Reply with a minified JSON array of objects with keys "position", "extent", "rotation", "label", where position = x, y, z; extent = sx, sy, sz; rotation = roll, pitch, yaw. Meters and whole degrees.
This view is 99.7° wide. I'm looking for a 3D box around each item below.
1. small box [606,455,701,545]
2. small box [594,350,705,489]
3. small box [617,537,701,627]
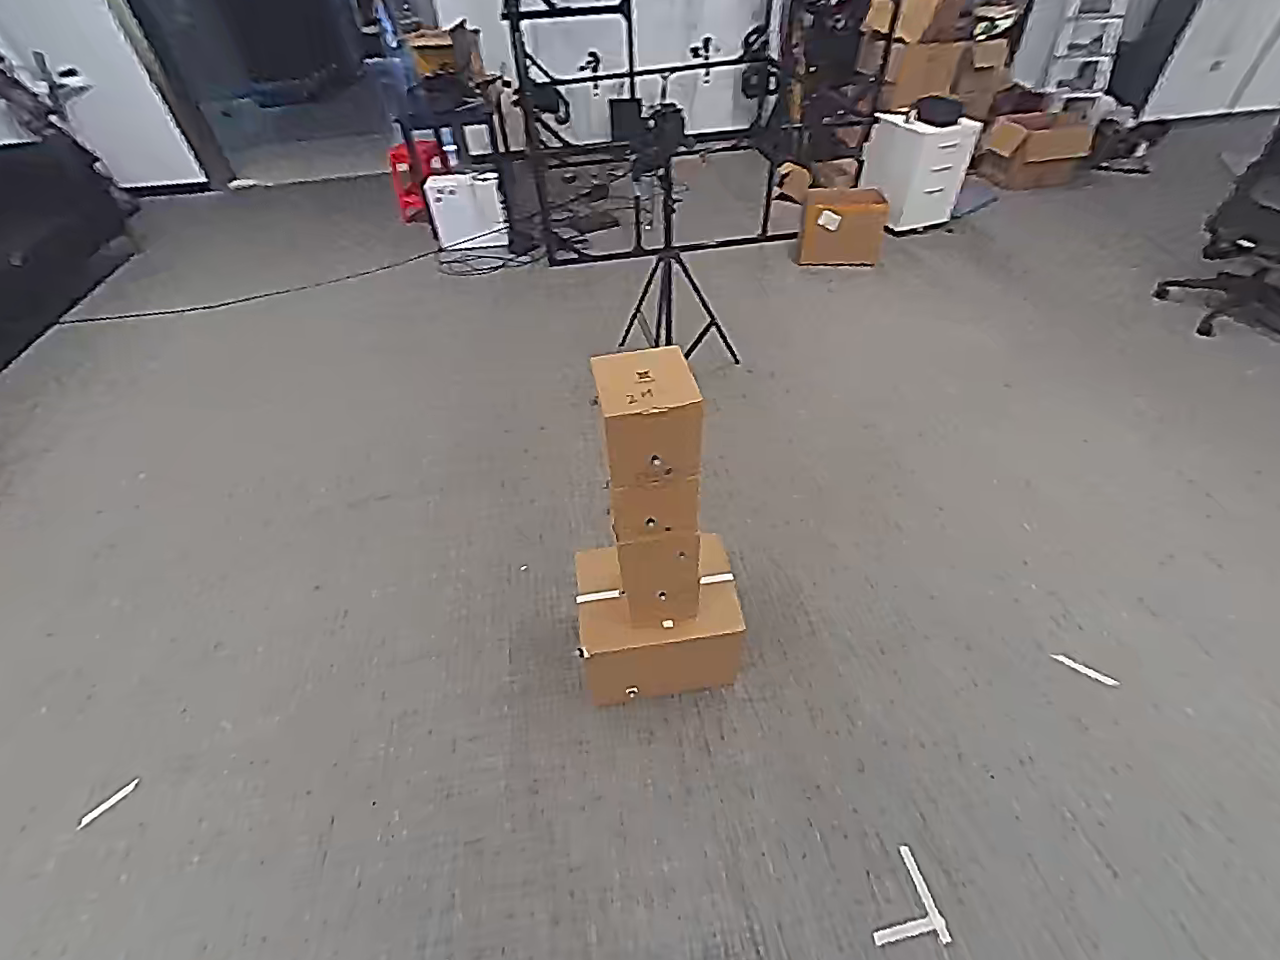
[{"position":[0.022,0.007,1.097],"extent":[0.168,0.176,0.179],"rotation":[-9,47,-5],"label":"small box"},{"position":[0.014,-0.109,0.981],"extent":[0.168,0.176,0.179],"rotation":[-10,47,-6],"label":"small box"},{"position":[0.046,0.241,1.325],"extent":[0.179,0.176,0.168],"rotation":[-8,47,-6],"label":"small box"}]
